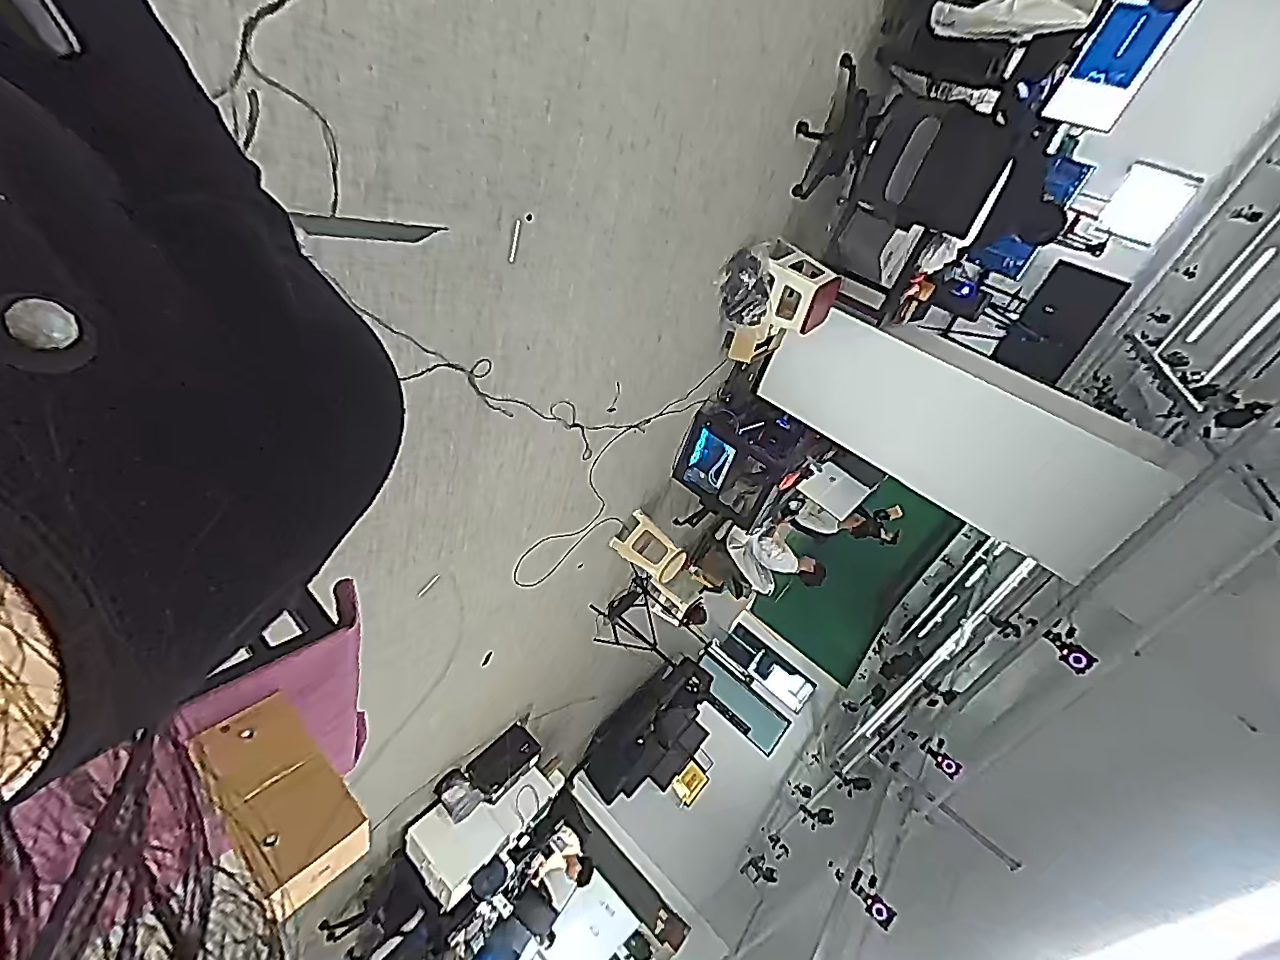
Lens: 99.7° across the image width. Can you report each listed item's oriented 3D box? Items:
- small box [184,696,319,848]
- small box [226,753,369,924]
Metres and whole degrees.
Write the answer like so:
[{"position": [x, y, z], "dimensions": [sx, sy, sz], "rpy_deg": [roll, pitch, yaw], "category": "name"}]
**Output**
[{"position": [-0.755, 0.568, 1.066], "dimensions": [0.168, 0.176, 0.179], "rpy_deg": [-28, 146, -47], "category": "small box"}, {"position": [-0.635, 0.658, 1.006], "dimensions": [0.179, 0.176, 0.168], "rpy_deg": [-29, 149, -46], "category": "small box"}]
